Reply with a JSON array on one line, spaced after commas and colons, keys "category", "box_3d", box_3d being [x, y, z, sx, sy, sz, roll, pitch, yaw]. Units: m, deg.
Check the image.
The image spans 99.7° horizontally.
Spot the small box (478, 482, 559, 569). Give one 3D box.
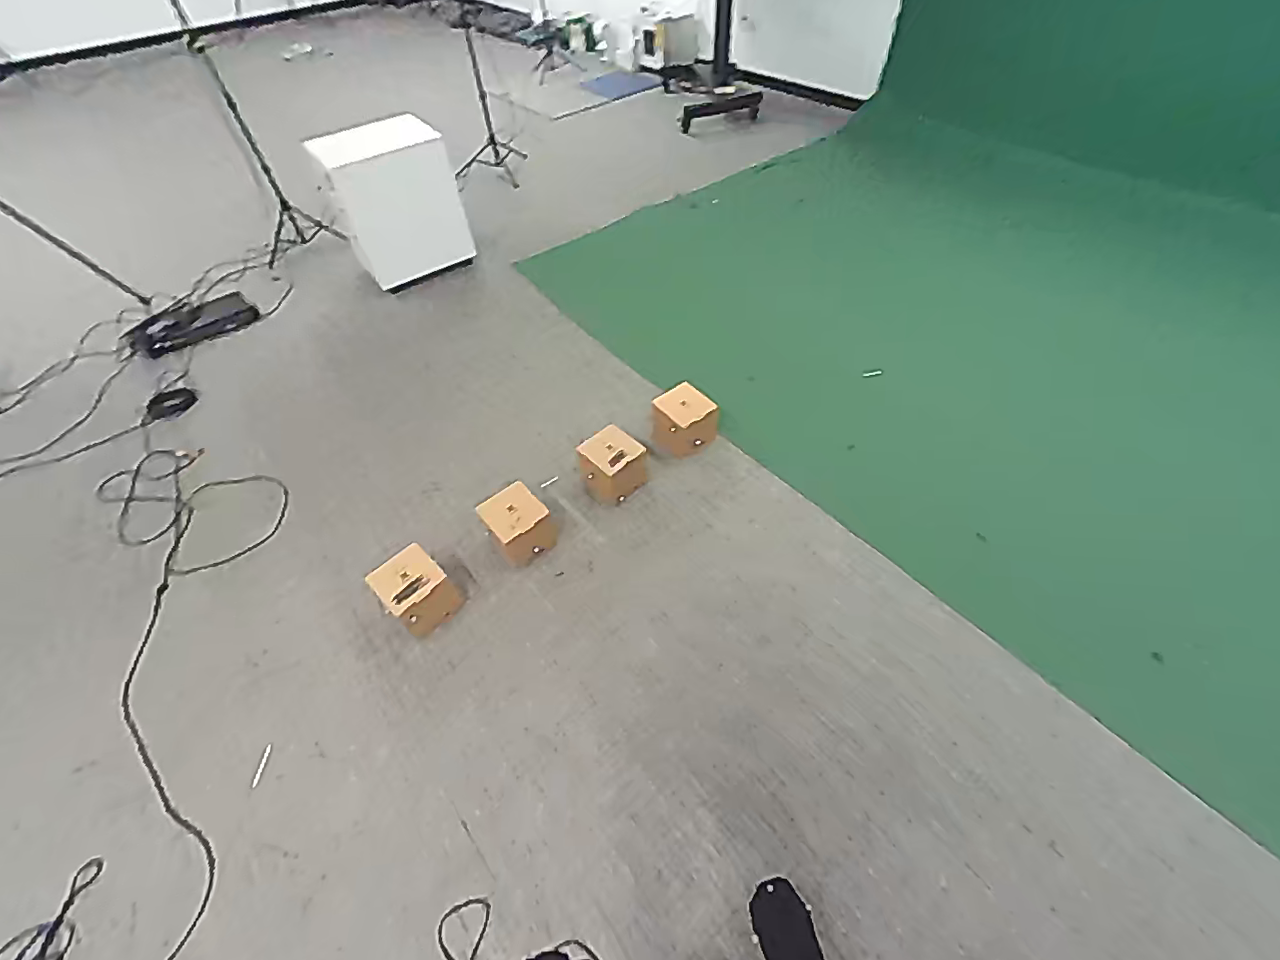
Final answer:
[{"category": "small box", "box_3d": [-0.375, 0.145, 1.692, 0.168, 0.176, 0.179, -36, 58, -23]}]

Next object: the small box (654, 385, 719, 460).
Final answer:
[{"category": "small box", "box_3d": [0.164, -0.207, 1.964, 0.168, 0.176, 0.179, -32, 57, -21]}]

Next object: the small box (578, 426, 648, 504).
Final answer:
[{"category": "small box", "box_3d": [-0.086, -0.044, 1.838, 0.168, 0.176, 0.179, -37, 58, -25]}]
